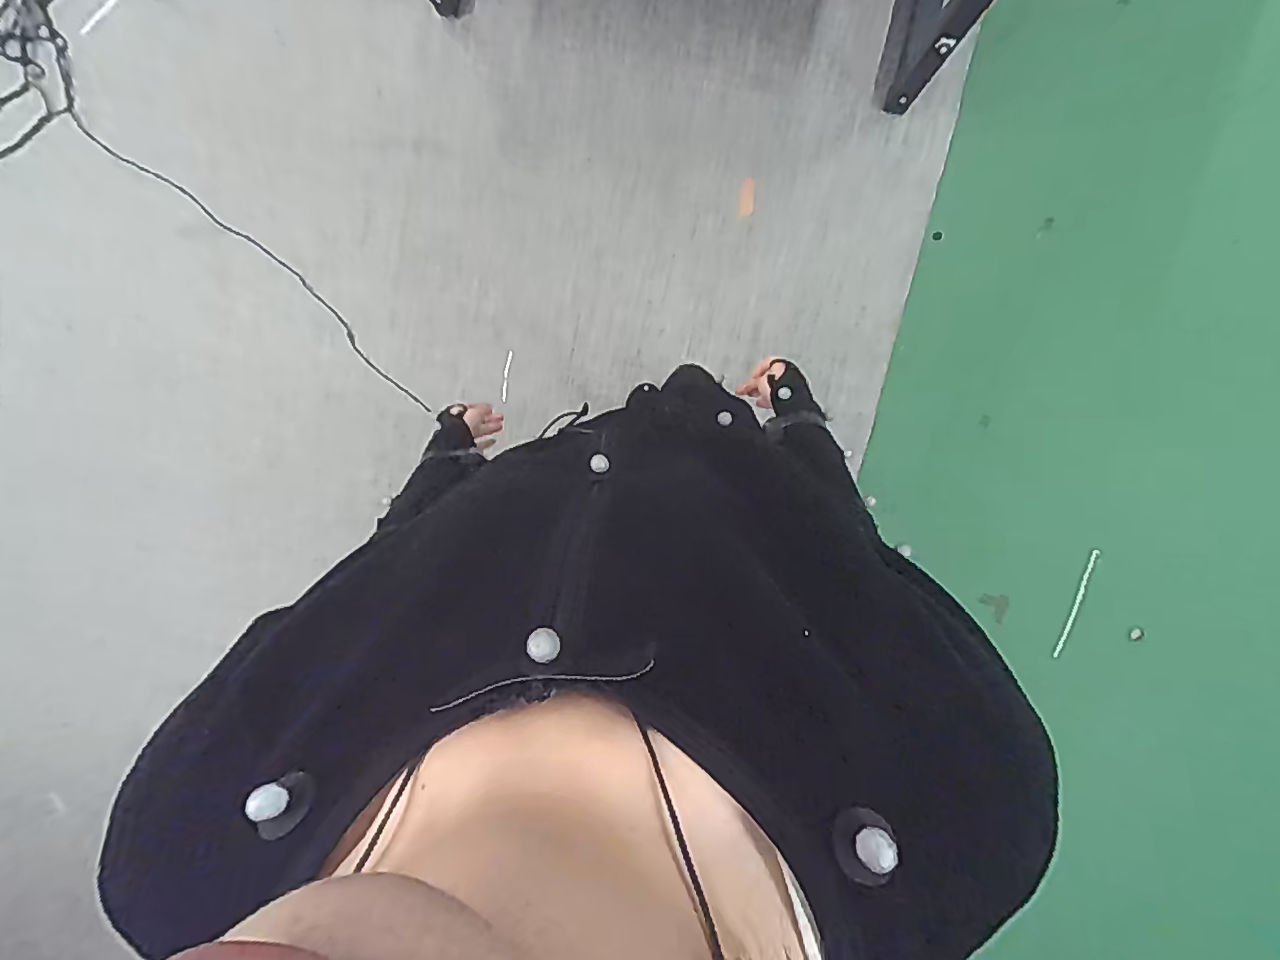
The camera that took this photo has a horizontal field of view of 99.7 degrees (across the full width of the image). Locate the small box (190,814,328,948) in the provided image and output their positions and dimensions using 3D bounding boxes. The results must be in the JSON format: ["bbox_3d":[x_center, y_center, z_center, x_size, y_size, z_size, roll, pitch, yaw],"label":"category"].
[{"bbox_3d":[-0.917,0.961,1.317,0.179,0.176,0.168,42,101,-3],"label":"small box"}]

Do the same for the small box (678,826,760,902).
[{"bbox_3d":[0.175,0.941,1.248,0.168,0.176,0.179,3,99,3],"label":"small box"}]
